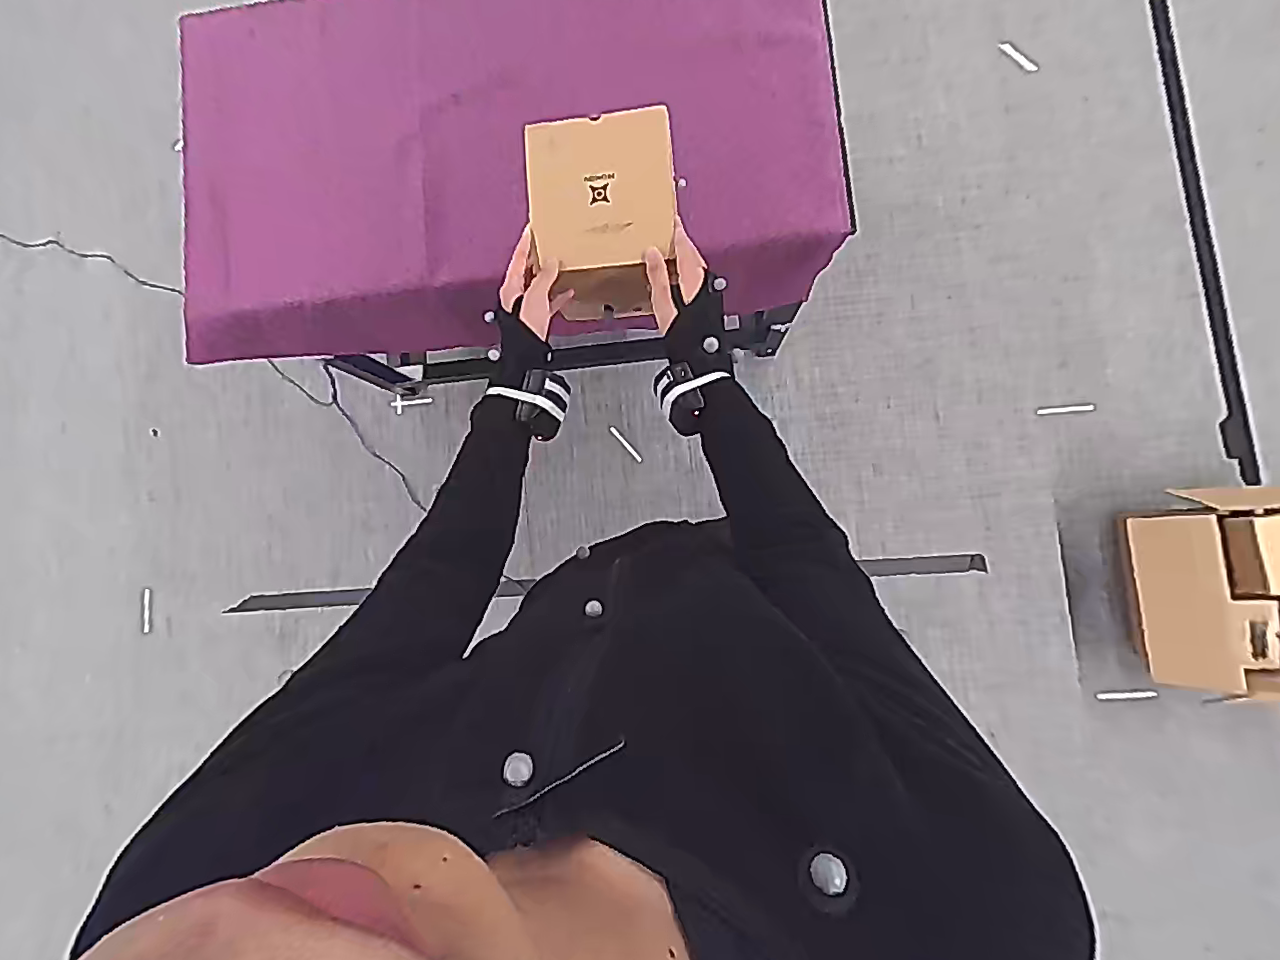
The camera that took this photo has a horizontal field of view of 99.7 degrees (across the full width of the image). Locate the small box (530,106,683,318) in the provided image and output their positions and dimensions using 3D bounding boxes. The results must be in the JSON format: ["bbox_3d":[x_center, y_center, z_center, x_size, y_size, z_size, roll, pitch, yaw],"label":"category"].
[{"bbox_3d":[-0.034,-0.323,0.684,0.168,0.176,0.179,-3,87,7],"label":"small box"}]

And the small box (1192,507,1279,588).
[{"bbox_3d":[1.423,0.149,1.233,0.179,0.176,0.168,-6,86,5],"label":"small box"}]
